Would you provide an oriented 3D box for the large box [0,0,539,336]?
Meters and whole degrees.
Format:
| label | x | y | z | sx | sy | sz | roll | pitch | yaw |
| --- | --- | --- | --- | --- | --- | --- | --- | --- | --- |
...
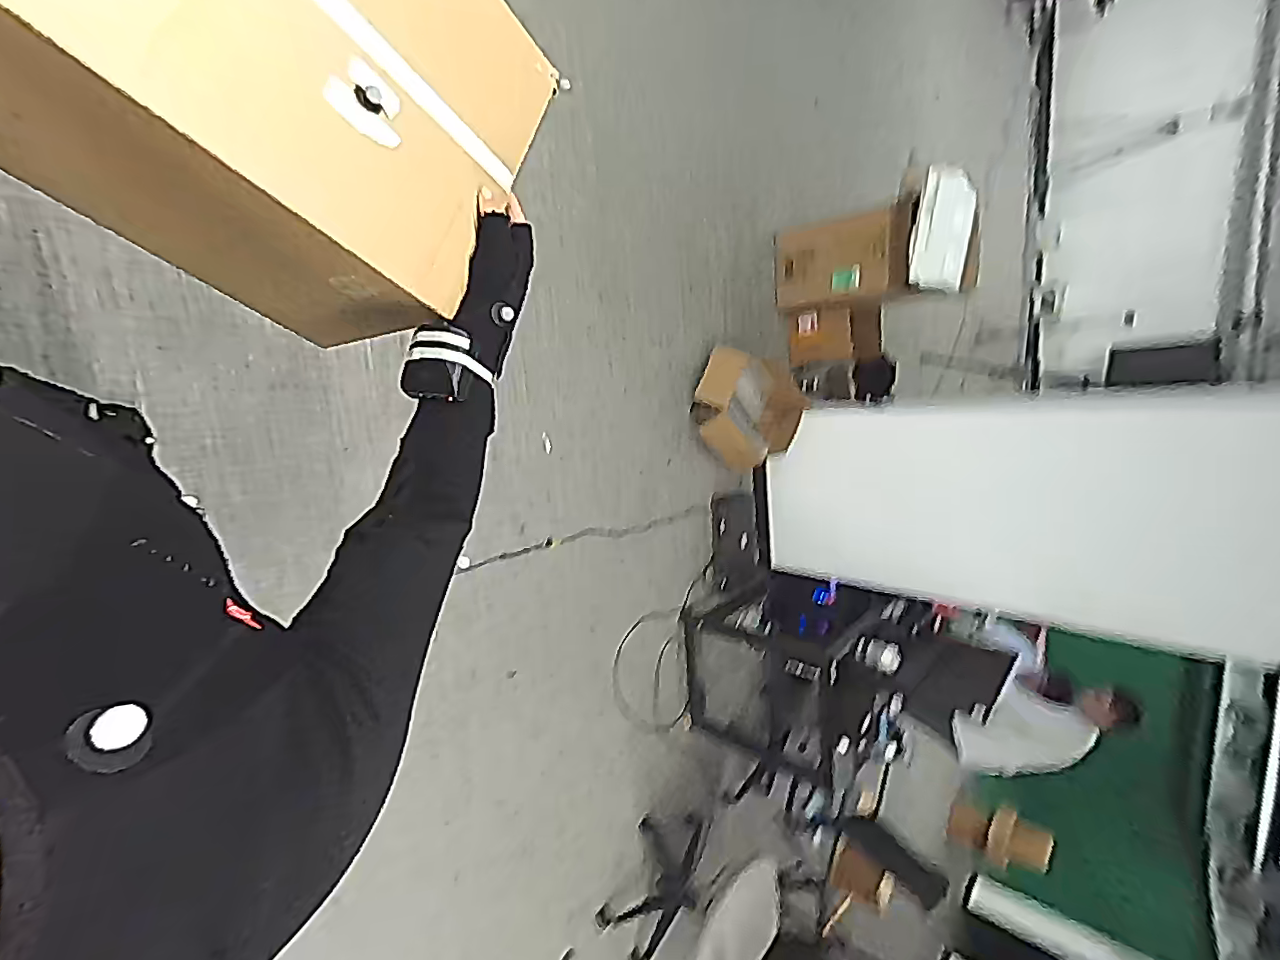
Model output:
| label | x | y | z | sx | sy | sz | roll | pitch | yaw |
| --- | --- | --- | --- | --- | --- | --- | --- | --- | --- |
| large box | -0.376 | -0.384 | 0.496 | 0.408 | 0.320 | 0.320 | 32 | 70 | -47 |
